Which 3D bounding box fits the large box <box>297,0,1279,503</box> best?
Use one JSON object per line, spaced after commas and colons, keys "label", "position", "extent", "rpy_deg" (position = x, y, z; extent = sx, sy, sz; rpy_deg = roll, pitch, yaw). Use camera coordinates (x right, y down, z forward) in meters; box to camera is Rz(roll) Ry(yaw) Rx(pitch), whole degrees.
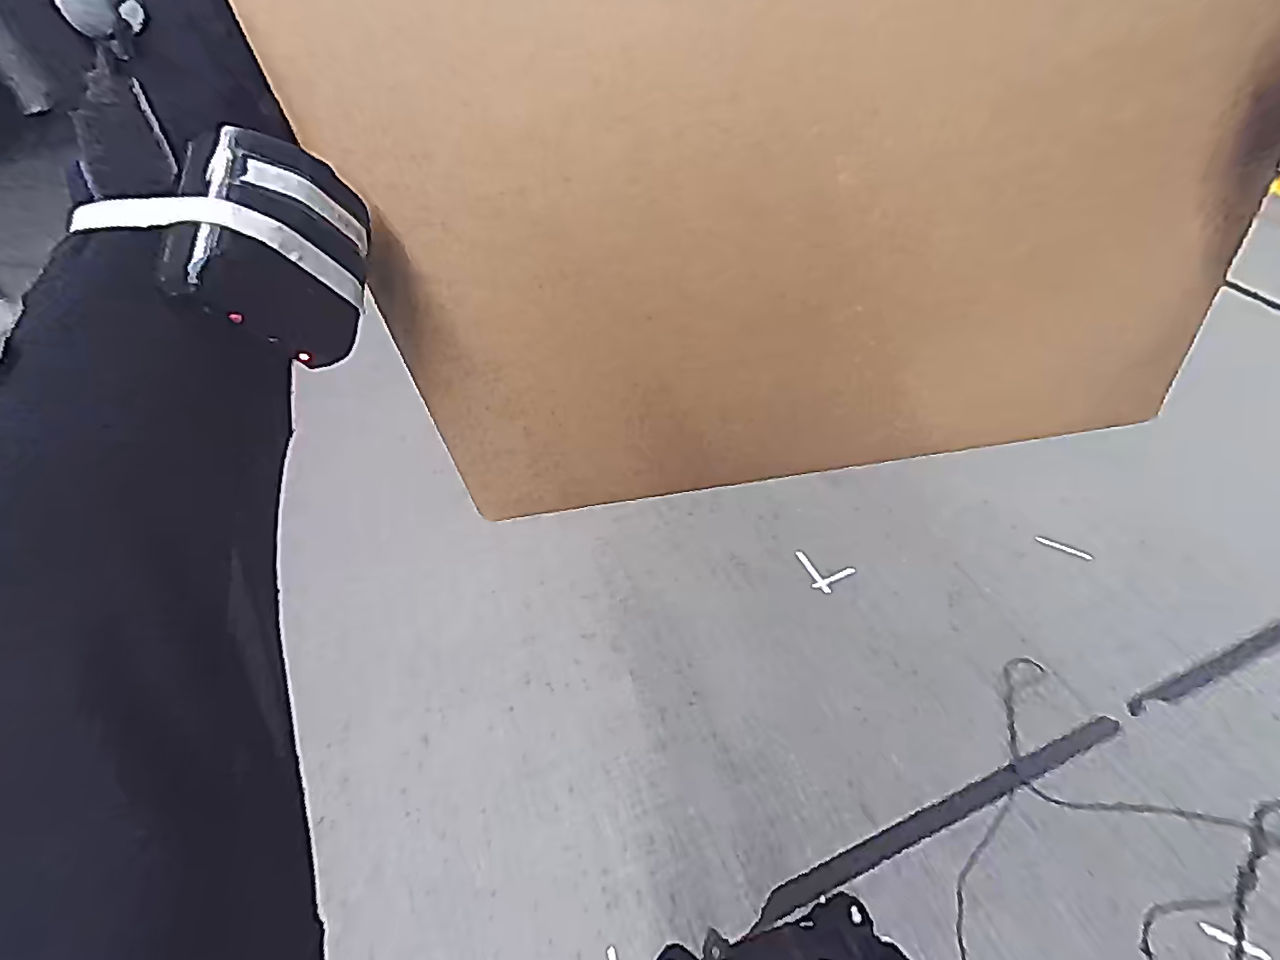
{"label": "large box", "position": [0.074, -0.217, 0.365], "extent": [0.408, 0.320, 0.320], "rpy_deg": [-8, 38, 4]}
